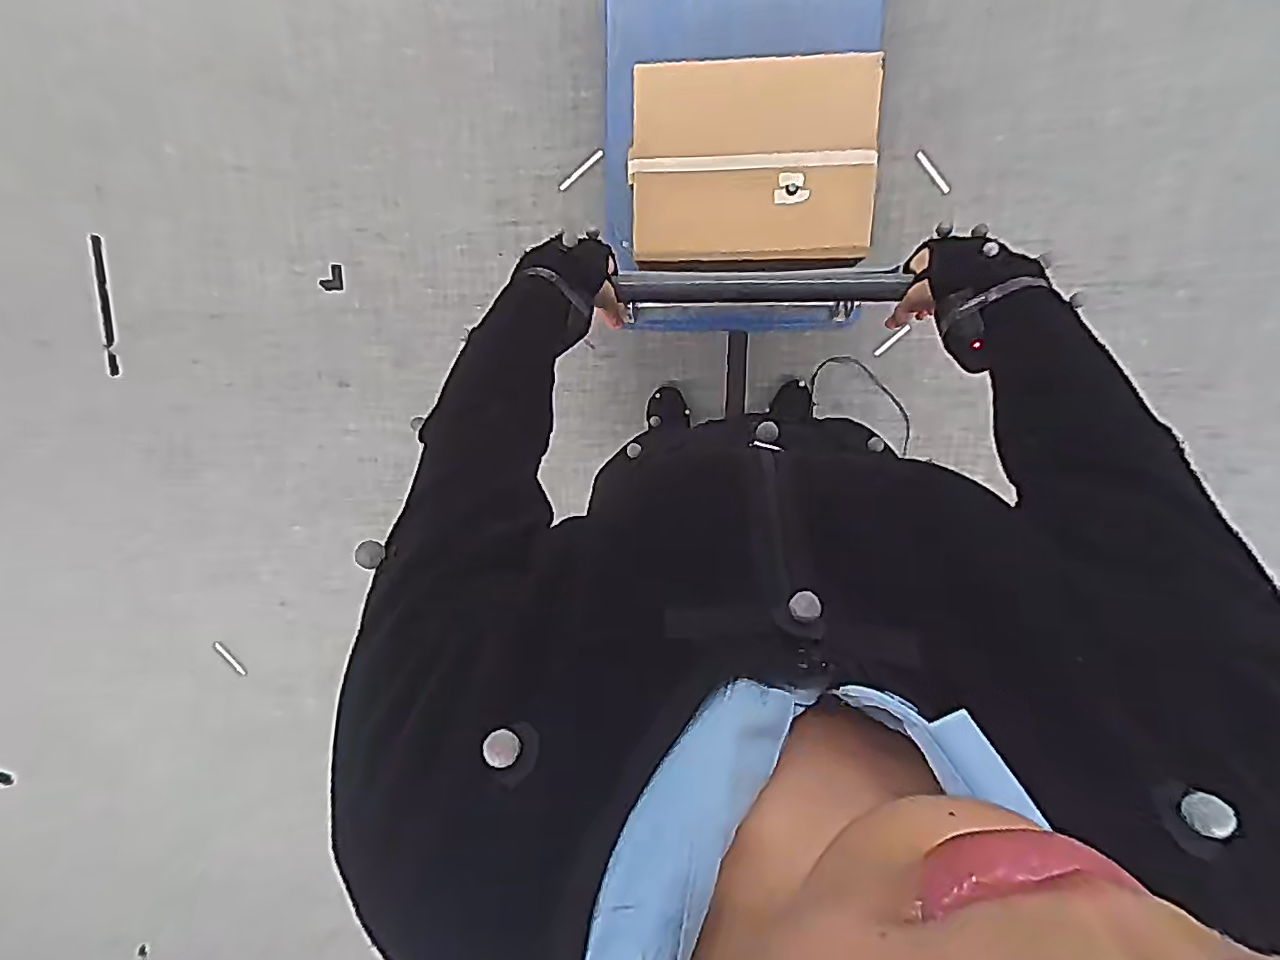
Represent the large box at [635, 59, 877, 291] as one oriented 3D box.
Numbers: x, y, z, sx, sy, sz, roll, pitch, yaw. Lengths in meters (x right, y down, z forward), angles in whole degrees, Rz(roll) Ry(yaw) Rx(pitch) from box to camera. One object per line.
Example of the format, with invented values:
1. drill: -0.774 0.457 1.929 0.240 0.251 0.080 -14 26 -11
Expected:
1. large box: 0.204 -0.563 1.071 0.408 0.320 0.320 1 102 5
